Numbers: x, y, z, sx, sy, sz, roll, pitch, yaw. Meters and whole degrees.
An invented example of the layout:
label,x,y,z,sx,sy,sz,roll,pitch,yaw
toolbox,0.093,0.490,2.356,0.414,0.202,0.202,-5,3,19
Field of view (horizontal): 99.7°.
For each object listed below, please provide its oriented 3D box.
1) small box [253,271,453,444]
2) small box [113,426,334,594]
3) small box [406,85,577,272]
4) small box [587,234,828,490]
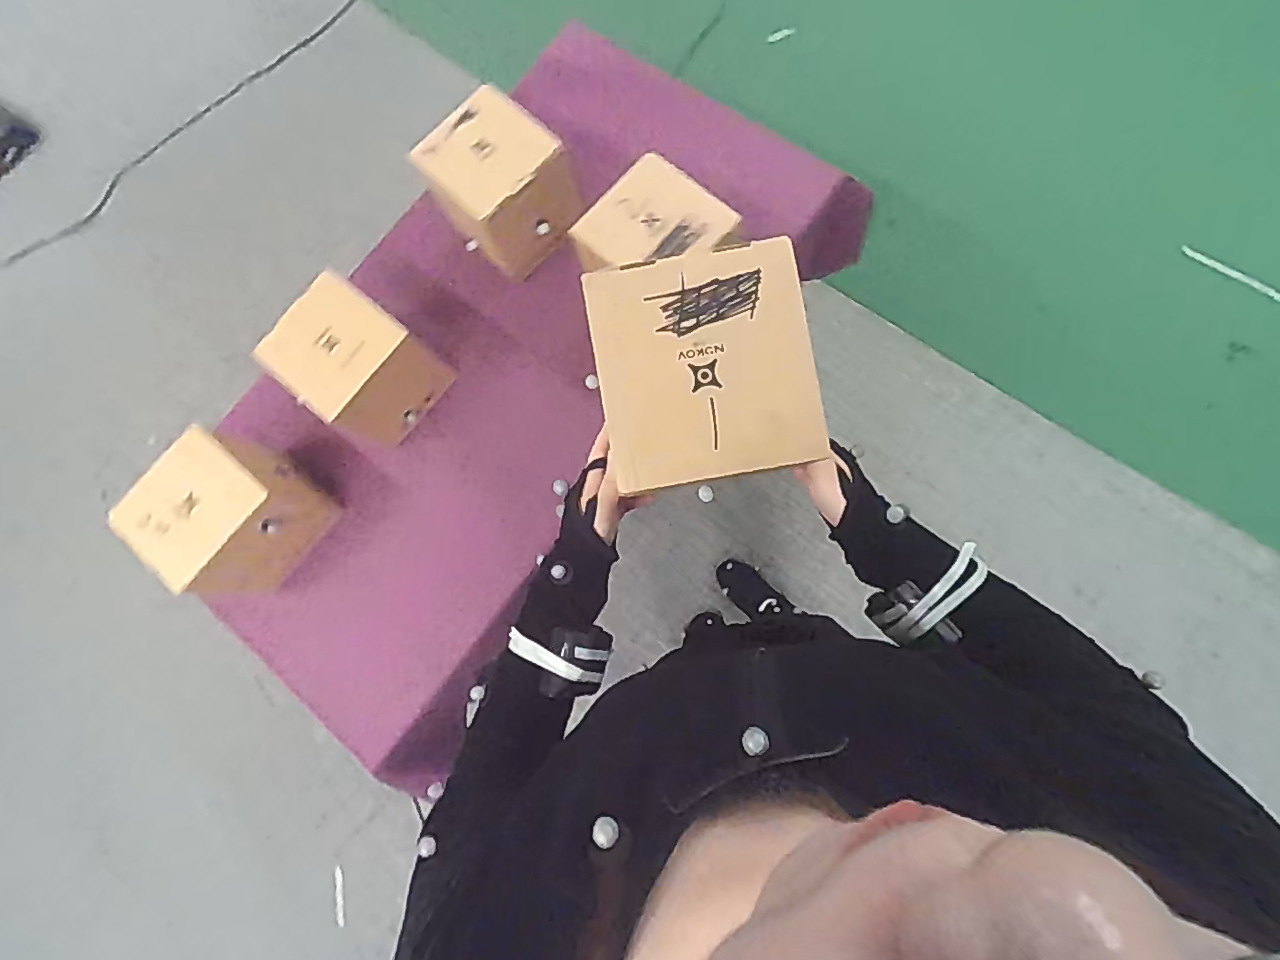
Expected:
label,x,y,z,sx,sy,sz,roll,pitch,yaw
small box,-0.433,-0.178,0.842,0.179,0.176,0.168,38,86,11
small box,-0.604,0.052,0.815,0.168,0.176,0.179,38,85,12
small box,-0.226,-0.469,0.873,0.179,0.176,0.168,44,87,12
small box,0.053,-0.089,0.491,0.168,0.176,0.179,-9,88,3
